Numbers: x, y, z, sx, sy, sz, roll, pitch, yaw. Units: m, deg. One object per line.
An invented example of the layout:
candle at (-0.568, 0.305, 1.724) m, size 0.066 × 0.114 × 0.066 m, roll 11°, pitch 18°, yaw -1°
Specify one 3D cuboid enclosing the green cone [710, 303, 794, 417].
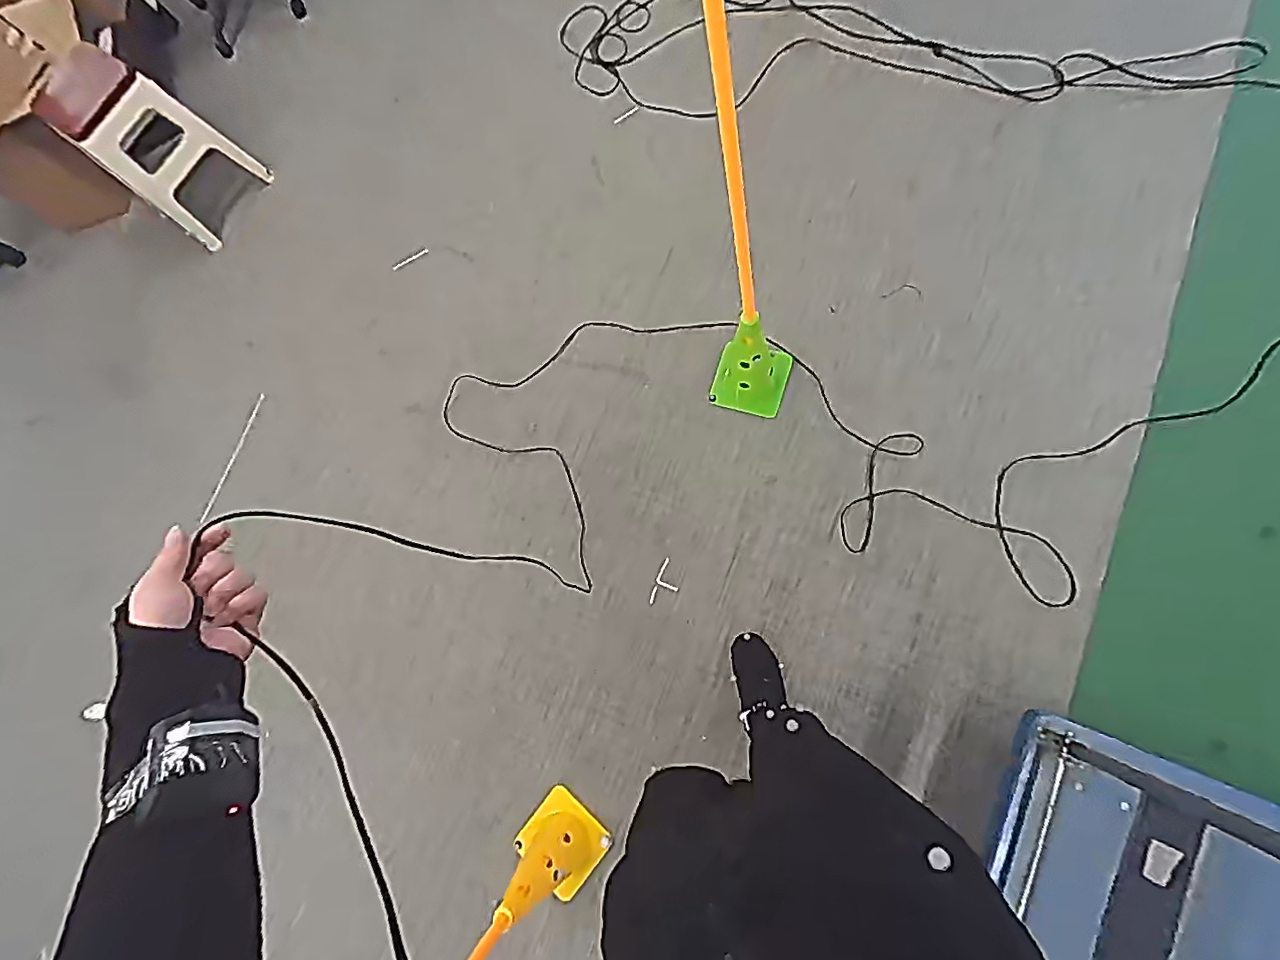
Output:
green cone at (0.285, -0.327, 1.367) m, size 0.200 × 0.368 × 0.202 m, roll 16°, pitch 79°, yaw 14°
